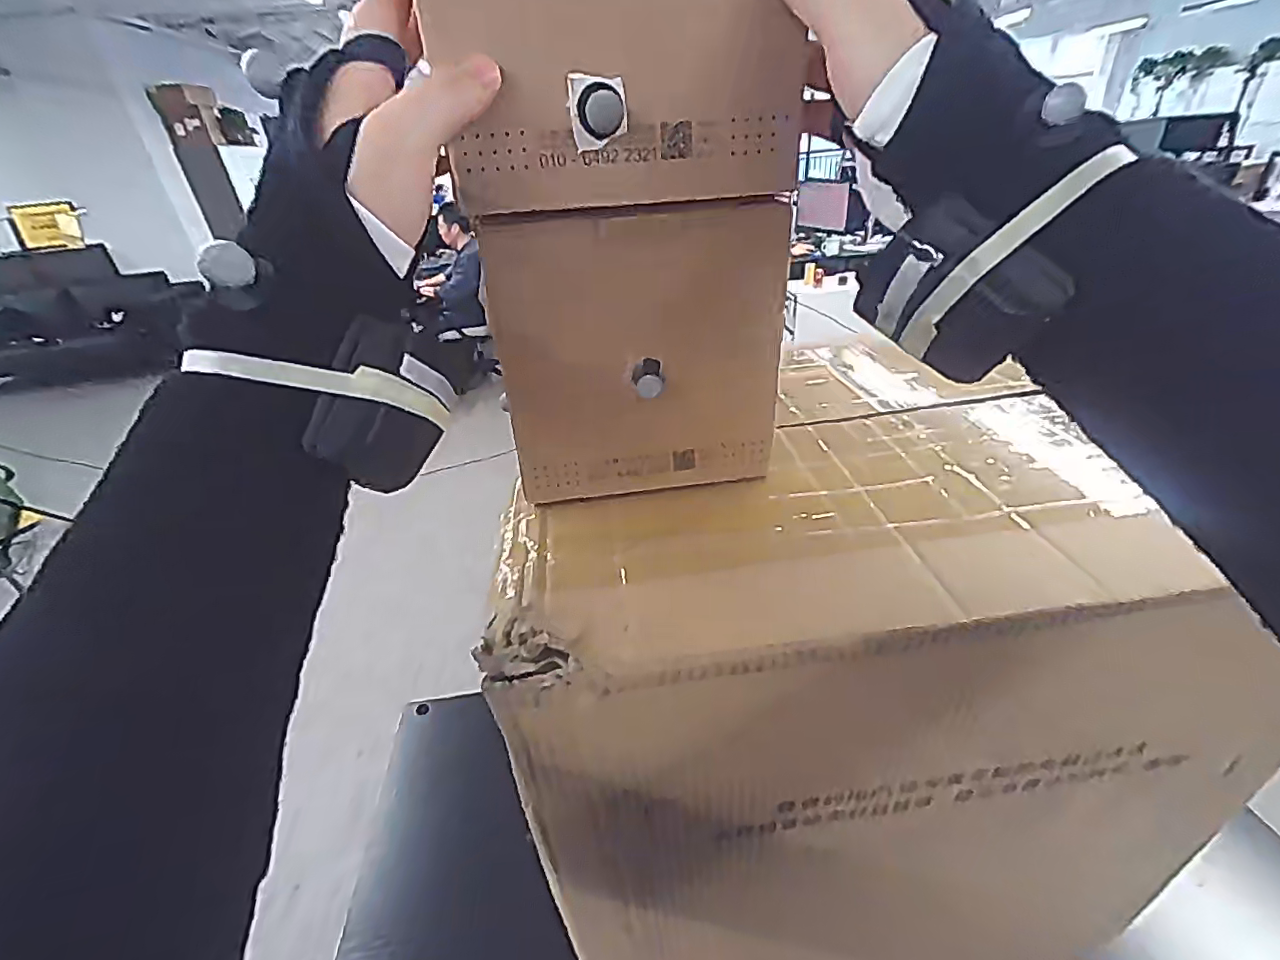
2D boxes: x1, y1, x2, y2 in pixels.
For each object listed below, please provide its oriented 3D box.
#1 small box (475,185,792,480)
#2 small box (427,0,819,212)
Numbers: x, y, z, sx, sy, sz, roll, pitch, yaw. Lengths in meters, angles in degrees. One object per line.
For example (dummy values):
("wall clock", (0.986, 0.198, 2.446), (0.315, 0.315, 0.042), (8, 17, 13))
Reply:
("small box", (-0.006, -0.109, 0.380), (0.168, 0.176, 0.179), (-7, 31, -5))
("small box", (-0.017, -0.243, 0.286), (0.168, 0.176, 0.179), (-9, 31, -5))
